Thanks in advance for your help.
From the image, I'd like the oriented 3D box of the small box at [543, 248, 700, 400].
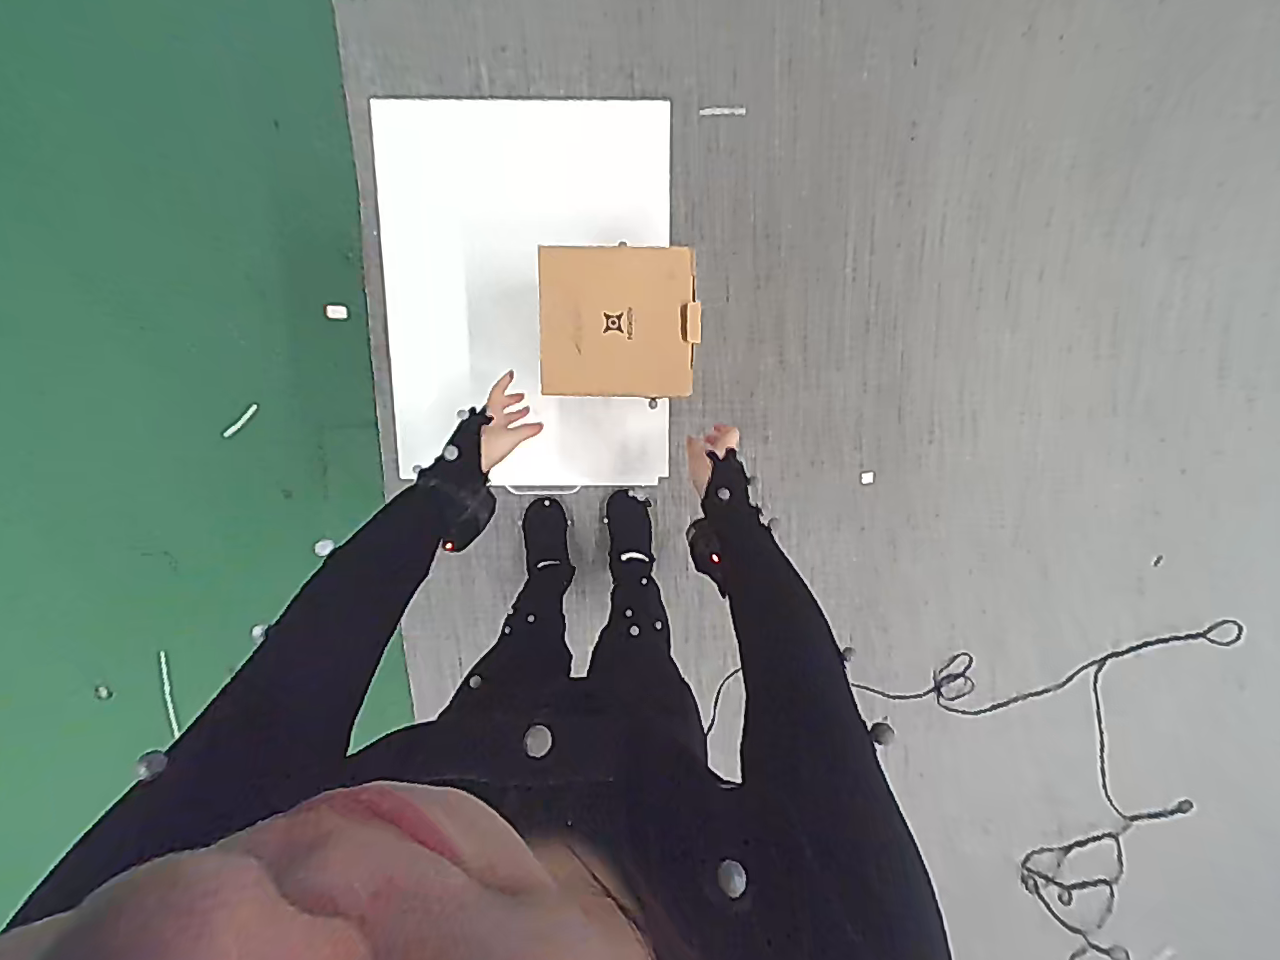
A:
[{"bbox_3d":[-0.021,-0.186,0.686,0.179,0.176,0.168,0,98,1],"label":"small box"}]
